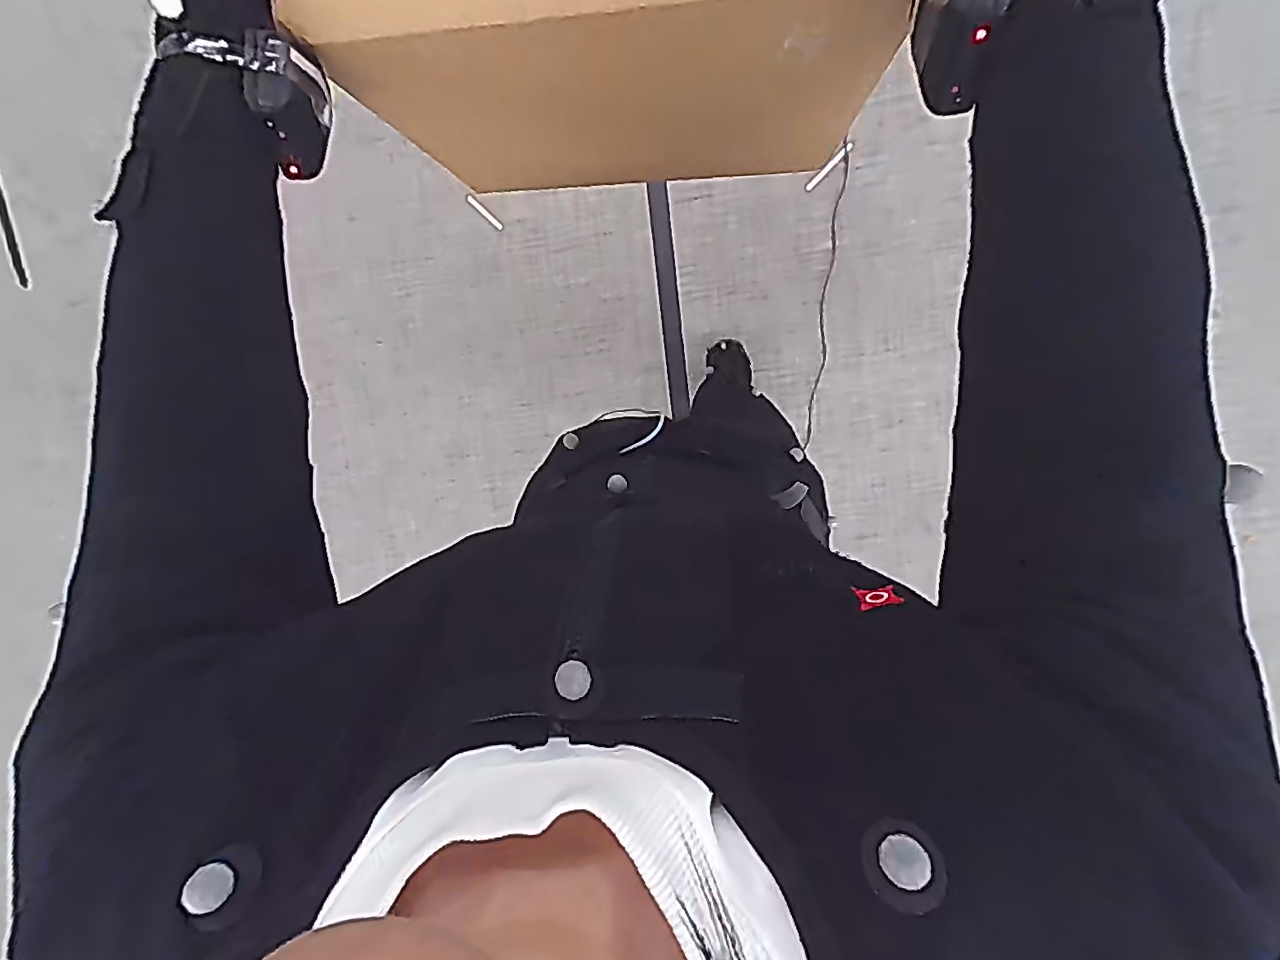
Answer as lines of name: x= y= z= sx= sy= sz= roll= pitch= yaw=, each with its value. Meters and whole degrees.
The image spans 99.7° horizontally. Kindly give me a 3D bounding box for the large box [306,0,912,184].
large box: x=-0.013 y=-0.475 z=0.447 sx=0.408 sy=0.320 sz=0.320 roll=-1 pitch=102 yaw=6
